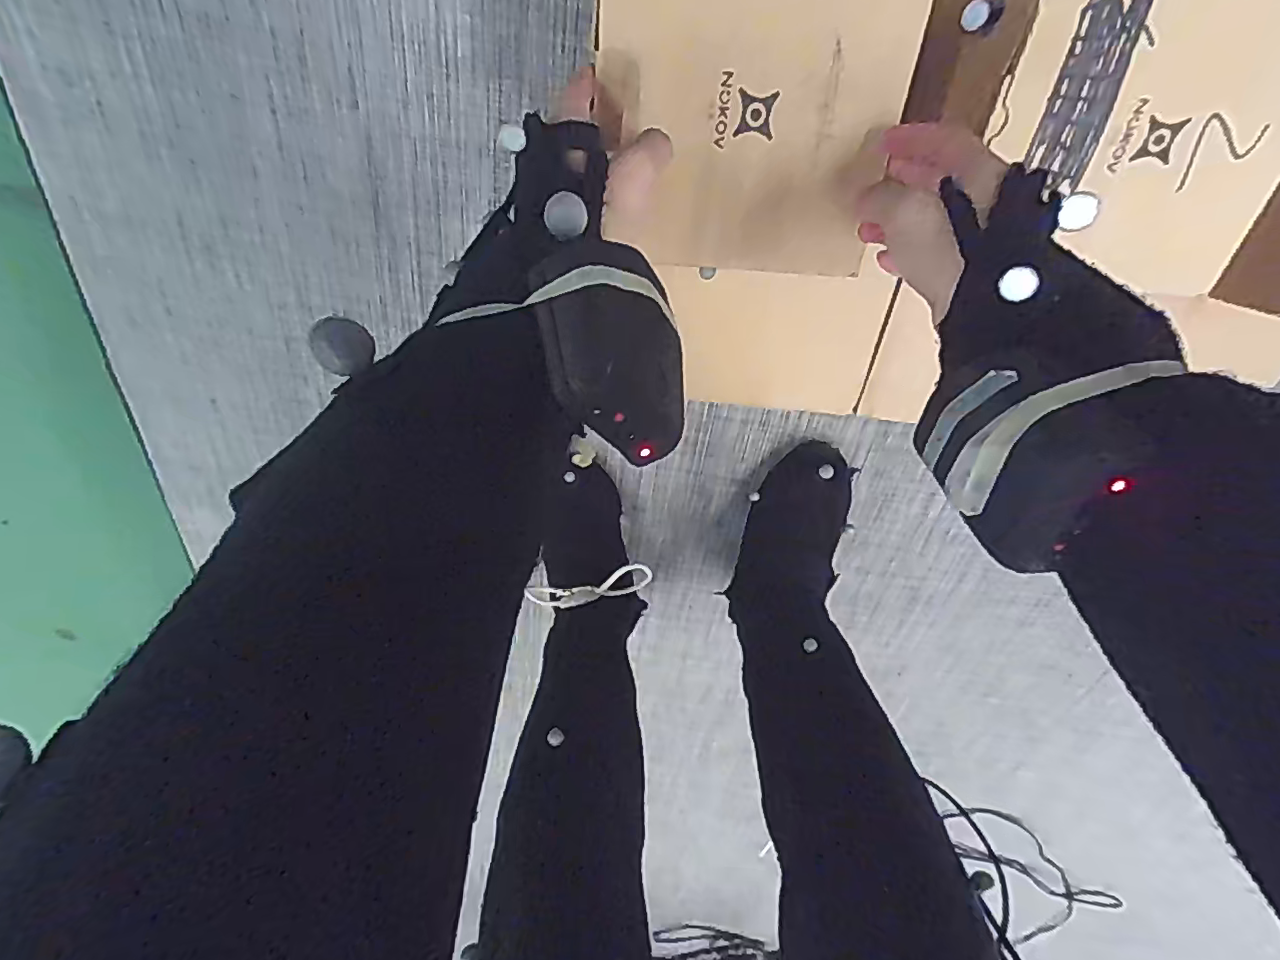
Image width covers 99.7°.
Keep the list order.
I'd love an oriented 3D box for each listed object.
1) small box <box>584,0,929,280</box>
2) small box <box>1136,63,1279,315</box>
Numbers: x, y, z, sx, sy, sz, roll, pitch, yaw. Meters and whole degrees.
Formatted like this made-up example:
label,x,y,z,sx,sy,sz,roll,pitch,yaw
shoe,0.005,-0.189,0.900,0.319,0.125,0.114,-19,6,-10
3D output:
label,x,y,z,sx,sy,sz,roll,pitch,yaw
small box,0.055,-0.246,0.371,0.179,0.176,0.168,2,123,-5
small box,0.527,-0.200,0.381,0.179,0.176,0.168,7,122,-1
